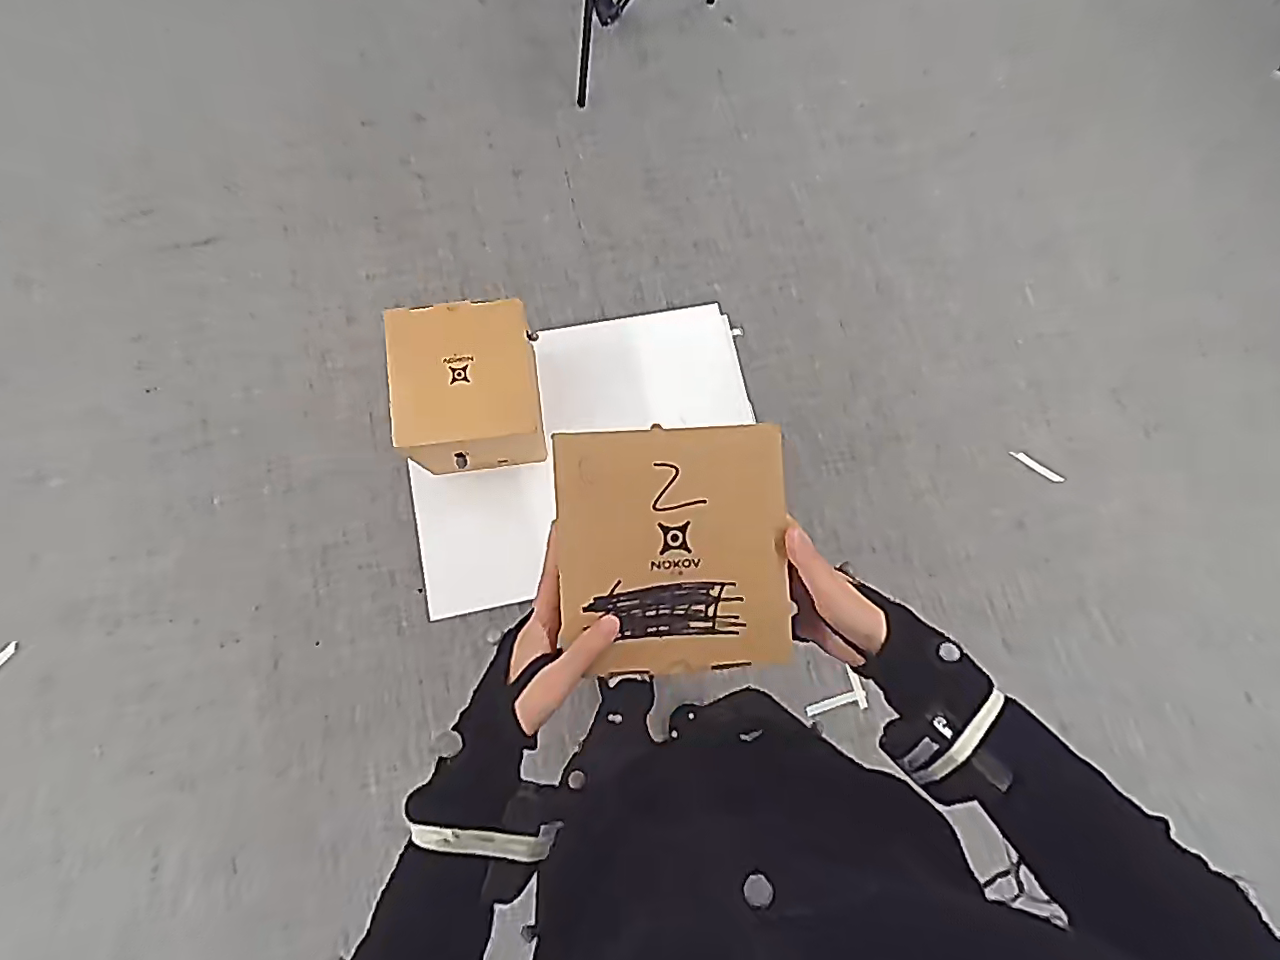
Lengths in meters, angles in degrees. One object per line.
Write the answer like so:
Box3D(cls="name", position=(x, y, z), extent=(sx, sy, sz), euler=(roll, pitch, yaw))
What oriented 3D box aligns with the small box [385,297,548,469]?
Box3D(cls="small box", position=(-0.219, -0.116, 0.718), extent=(0.168, 0.176, 0.179), euler=(-8, 80, -7))
